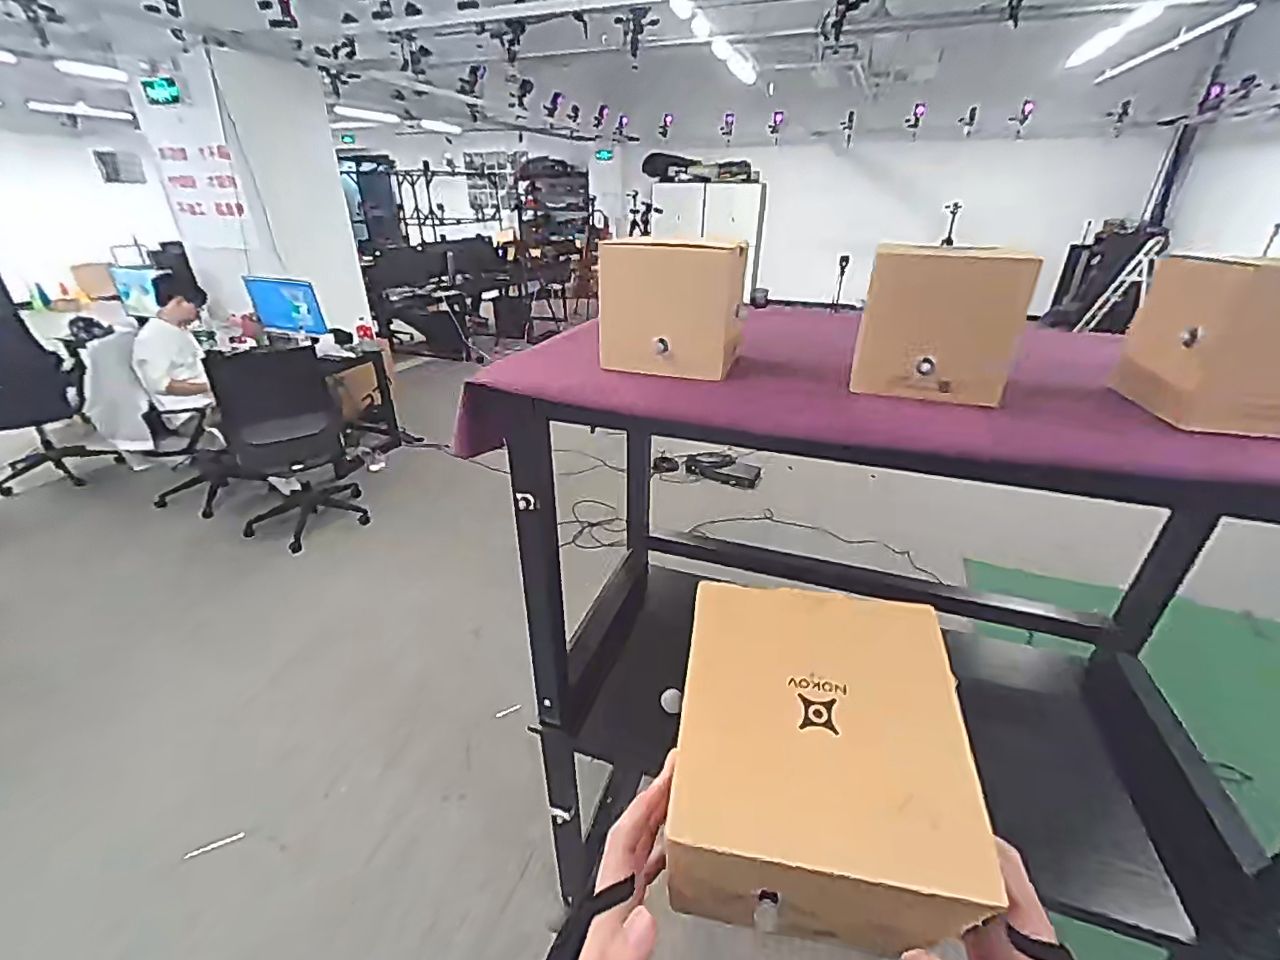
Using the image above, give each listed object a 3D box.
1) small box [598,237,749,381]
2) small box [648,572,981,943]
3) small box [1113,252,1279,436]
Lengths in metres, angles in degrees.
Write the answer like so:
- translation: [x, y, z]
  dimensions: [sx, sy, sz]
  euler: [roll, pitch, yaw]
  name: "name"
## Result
- translation: [0.050, -0.246, 0.771]
  dimensions: [0.179, 0.176, 0.168]
  euler: [9, 27, 15]
  name: "small box"
- translation: [0.107, 0.191, 0.383]
  dimensions: [0.168, 0.176, 0.179]
  euler: [4, 41, 11]
  name: "small box"
- translation: [0.673, -0.152, 0.588]
  dimensions: [0.168, 0.176, 0.179]
  euler: [8, 27, 15]
  name: "small box"
